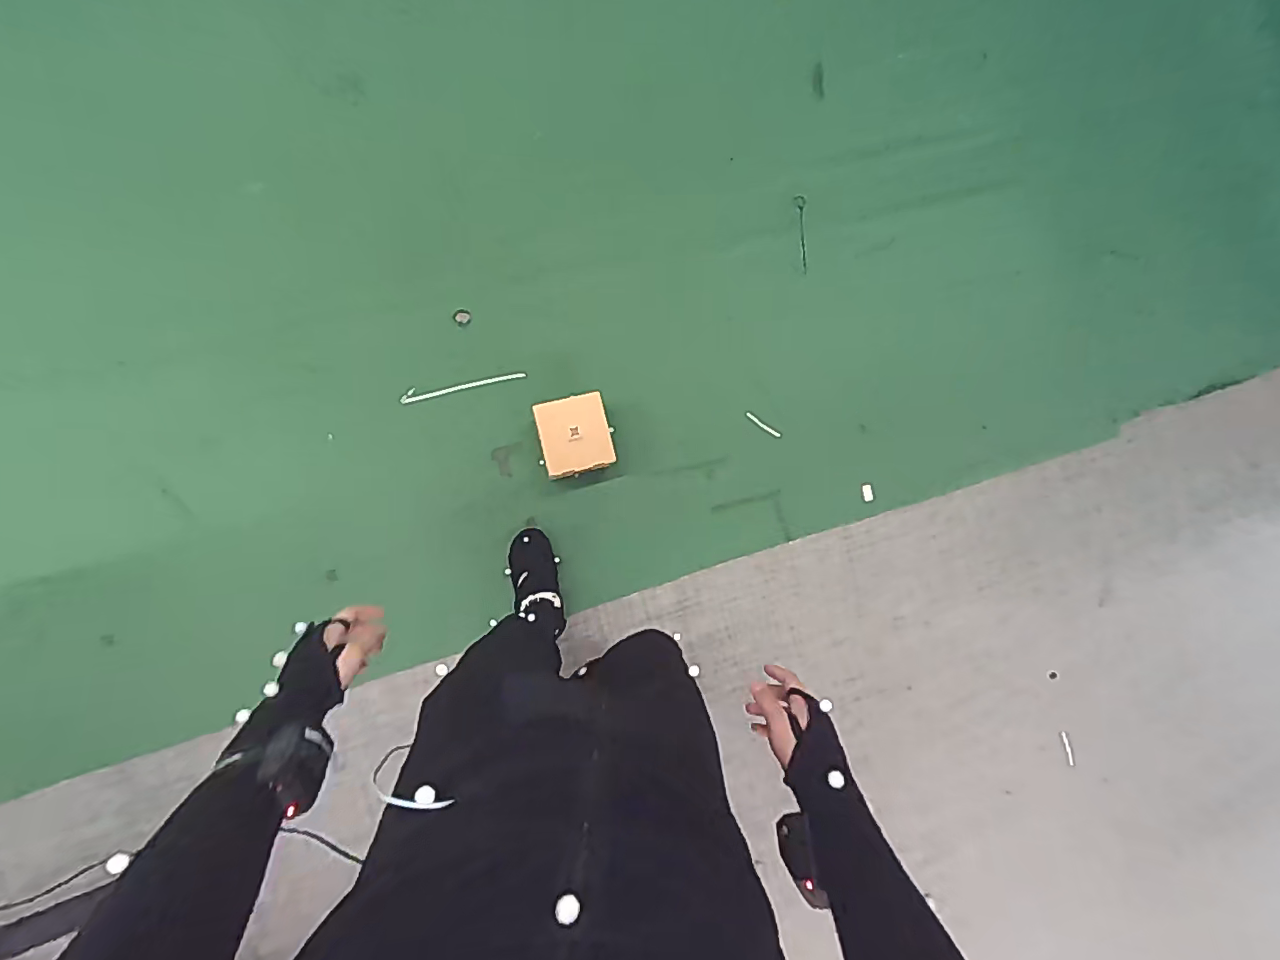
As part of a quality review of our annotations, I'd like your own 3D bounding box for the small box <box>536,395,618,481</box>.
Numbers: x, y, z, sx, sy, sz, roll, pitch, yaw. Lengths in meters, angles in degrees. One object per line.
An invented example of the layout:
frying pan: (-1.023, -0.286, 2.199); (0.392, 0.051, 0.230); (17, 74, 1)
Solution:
small box: (-0.165, -0.100, 1.363); (0.168, 0.176, 0.179); (-14, 91, -11)
